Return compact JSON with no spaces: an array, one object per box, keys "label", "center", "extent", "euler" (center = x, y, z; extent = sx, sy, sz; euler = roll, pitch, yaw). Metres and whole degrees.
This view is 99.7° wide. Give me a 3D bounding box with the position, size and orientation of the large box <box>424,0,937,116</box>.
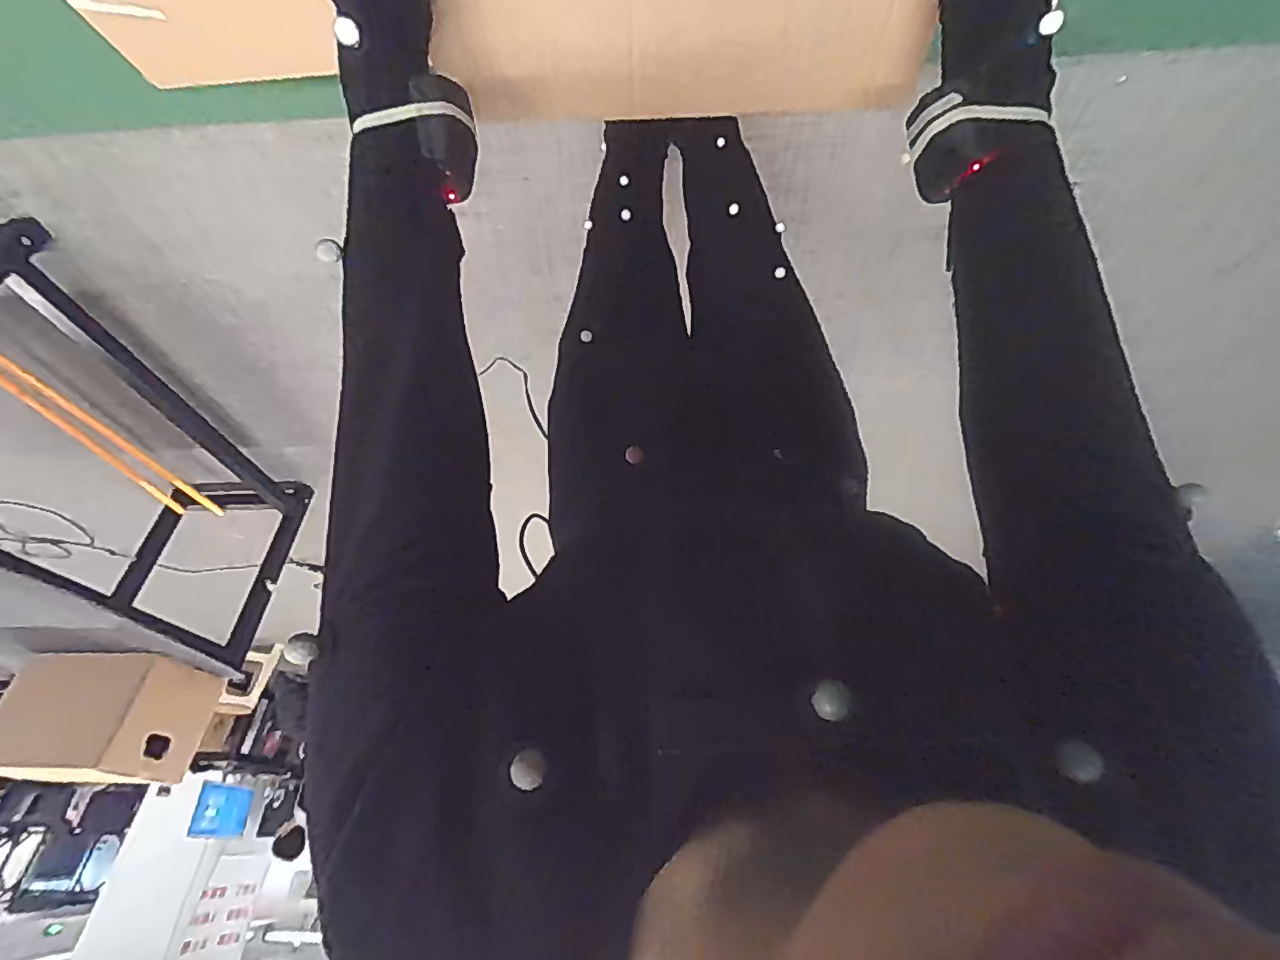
[{"label":"large box","center":[0.024,-0.539,0.437],"extent":[0.408,0.320,0.320],"euler":[-2,144,2]}]
